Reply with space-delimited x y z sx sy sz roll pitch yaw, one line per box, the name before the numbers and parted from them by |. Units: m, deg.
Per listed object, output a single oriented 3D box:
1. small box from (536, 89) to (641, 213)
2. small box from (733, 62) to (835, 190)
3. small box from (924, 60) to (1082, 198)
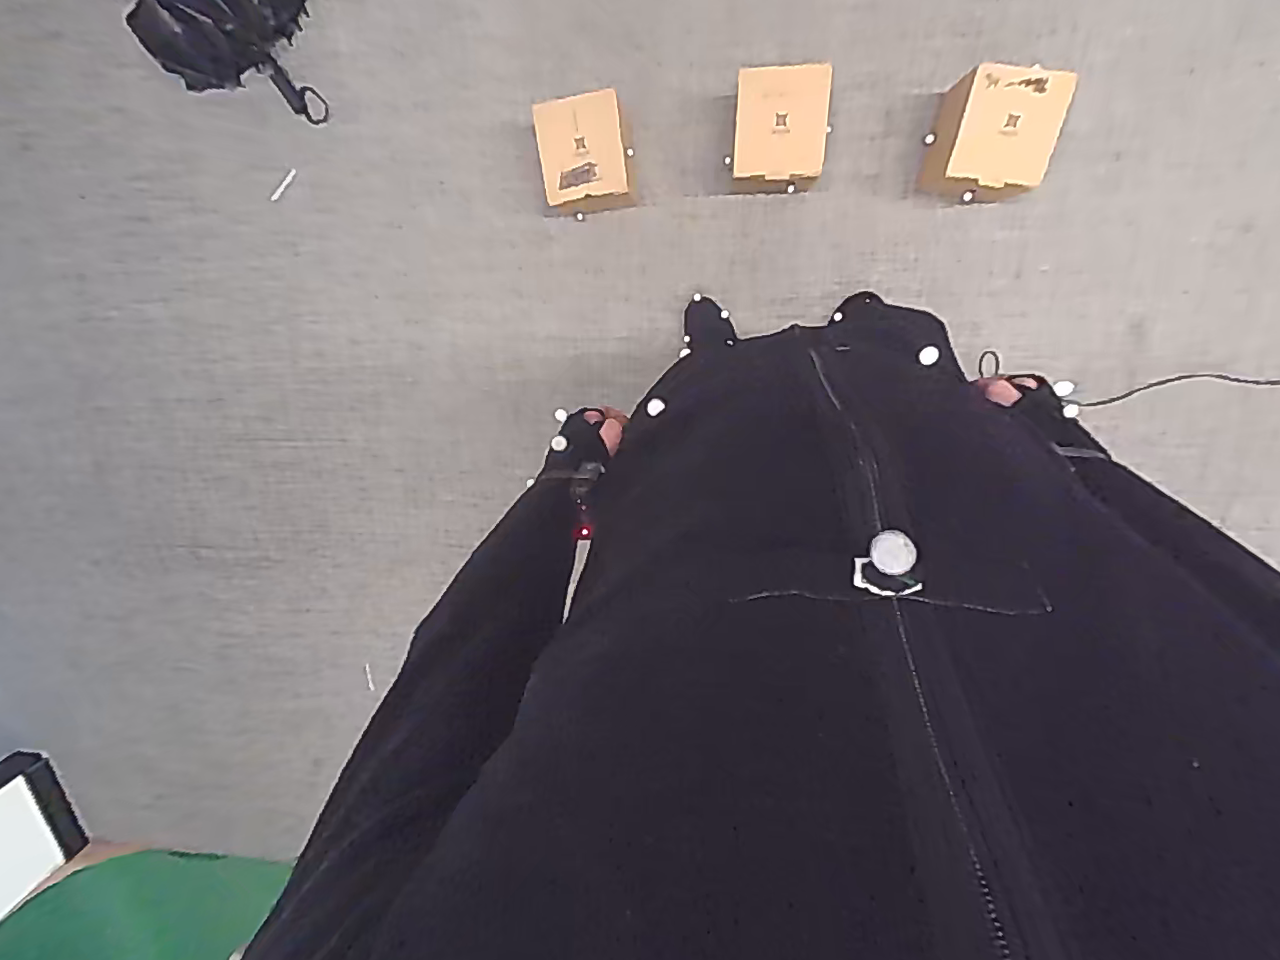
small box | -0.096 -0.659 1.108 0.168 0.176 0.179 -5 107 9
small box | 0.270 -0.674 1.053 0.168 0.176 0.179 1 108 6
small box | 0.656 -0.640 1.008 0.168 0.176 0.179 11 111 5
